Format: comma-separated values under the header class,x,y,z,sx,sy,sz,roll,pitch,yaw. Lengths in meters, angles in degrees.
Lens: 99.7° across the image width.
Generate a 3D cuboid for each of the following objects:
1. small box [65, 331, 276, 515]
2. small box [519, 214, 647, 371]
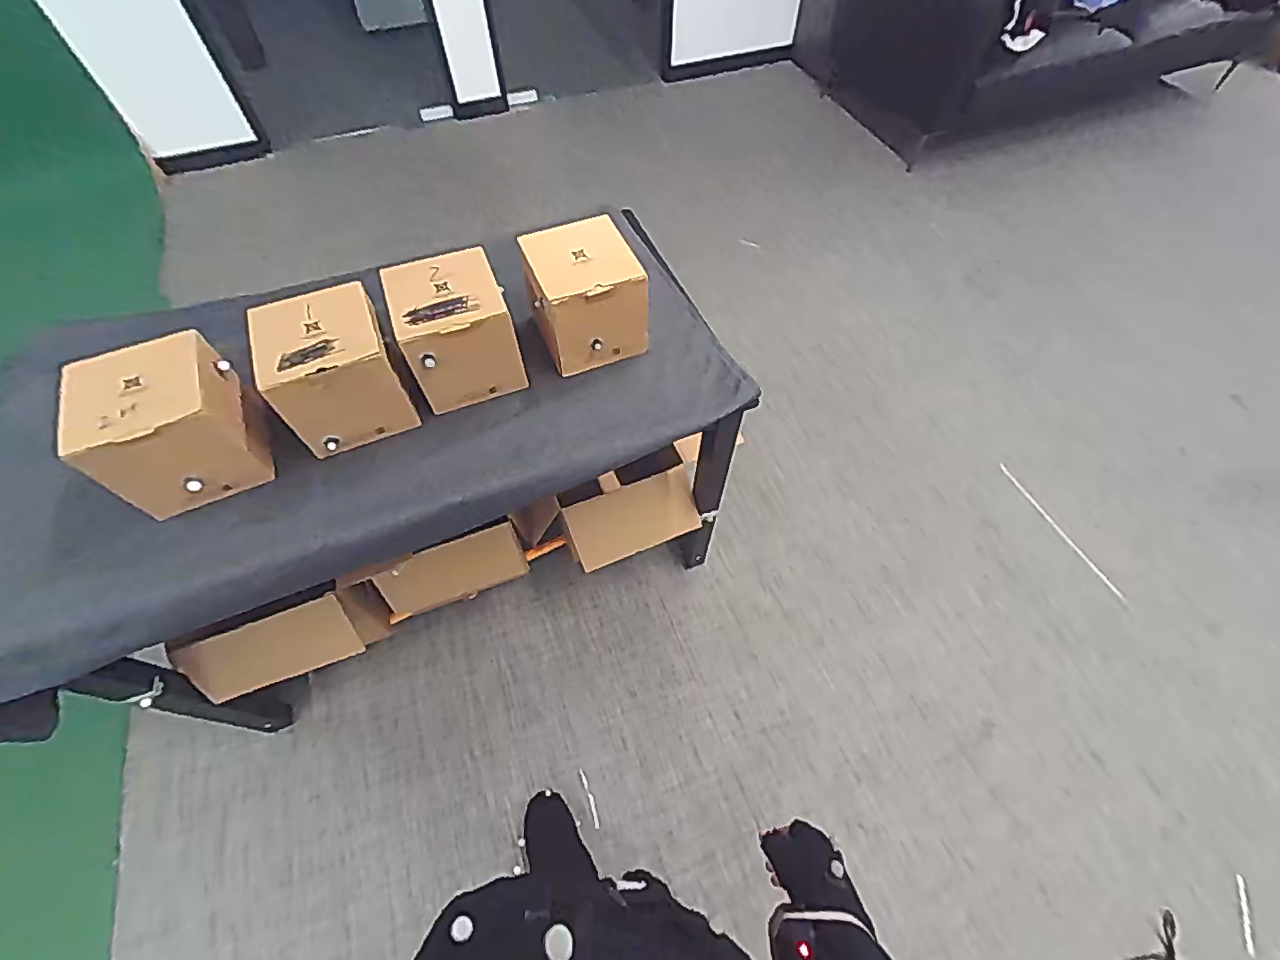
class,x,y,z,sx,sy,sz,roll,pitch,yaw
small box,-0.672,-0.080,0.792,0.168,0.176,0.179,-24,62,-14
small box,-0.097,-0.322,0.942,0.168,0.176,0.179,-21,61,-12
